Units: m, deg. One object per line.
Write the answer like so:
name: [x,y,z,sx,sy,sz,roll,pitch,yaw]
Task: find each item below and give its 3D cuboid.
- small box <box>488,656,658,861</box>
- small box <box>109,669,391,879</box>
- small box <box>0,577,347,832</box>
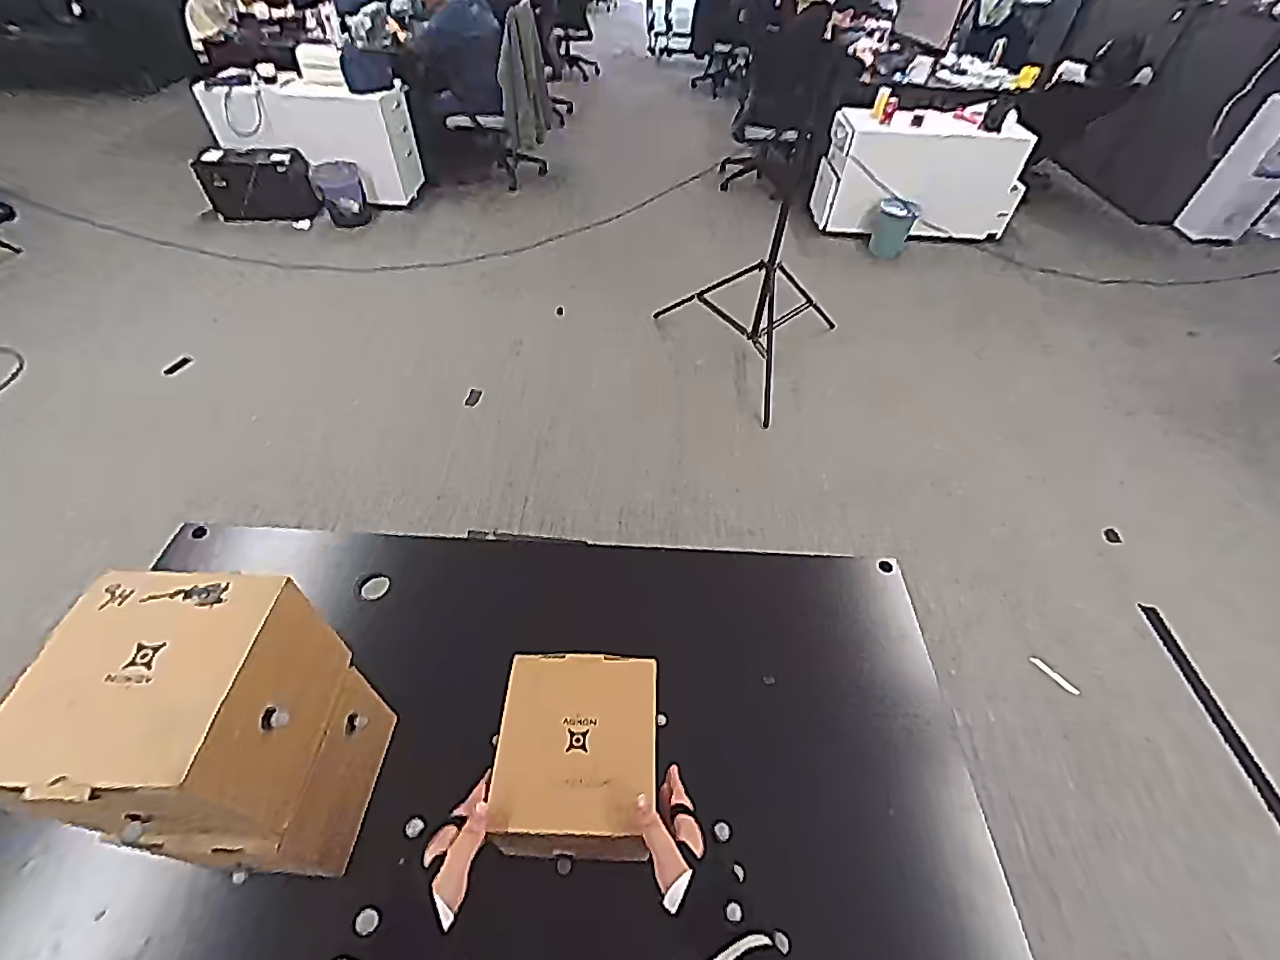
small box: [-0.065,0.323,0.627,0.168,0.176,0.179,1,49,-1]
small box: [-0.404,0.325,0.607,0.168,0.176,0.179,3,48,1]
small box: [-0.400,0.208,0.492,0.168,0.176,0.179,2,48,-2]
